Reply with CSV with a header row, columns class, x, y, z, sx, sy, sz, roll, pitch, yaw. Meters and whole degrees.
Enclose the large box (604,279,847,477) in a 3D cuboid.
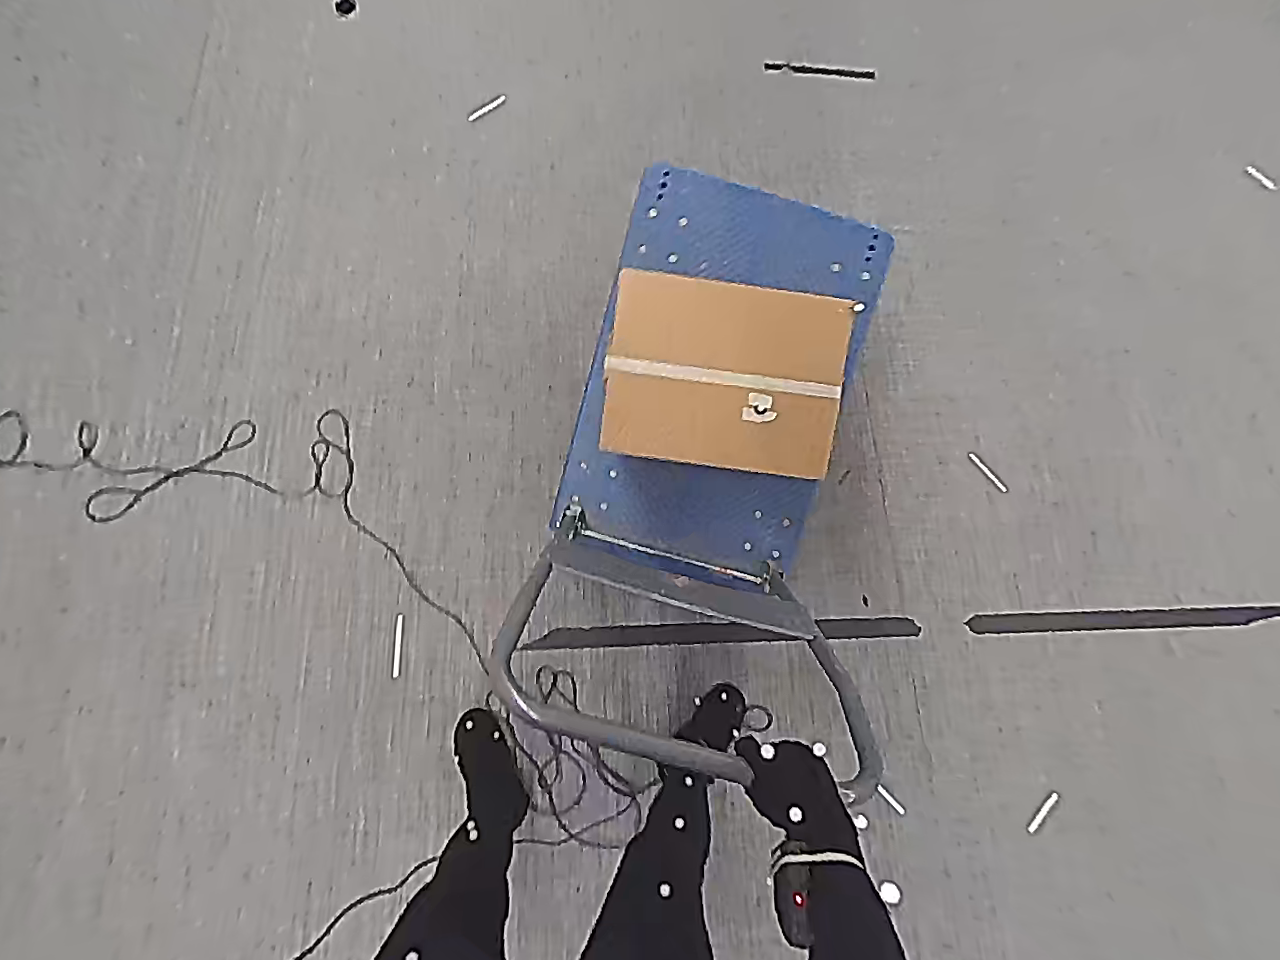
class,x,y,z,sx,sy,sz,roll,pitch,yaw
large box,0.143,-0.192,1.091,0.408,0.320,0.320,6,98,-1
